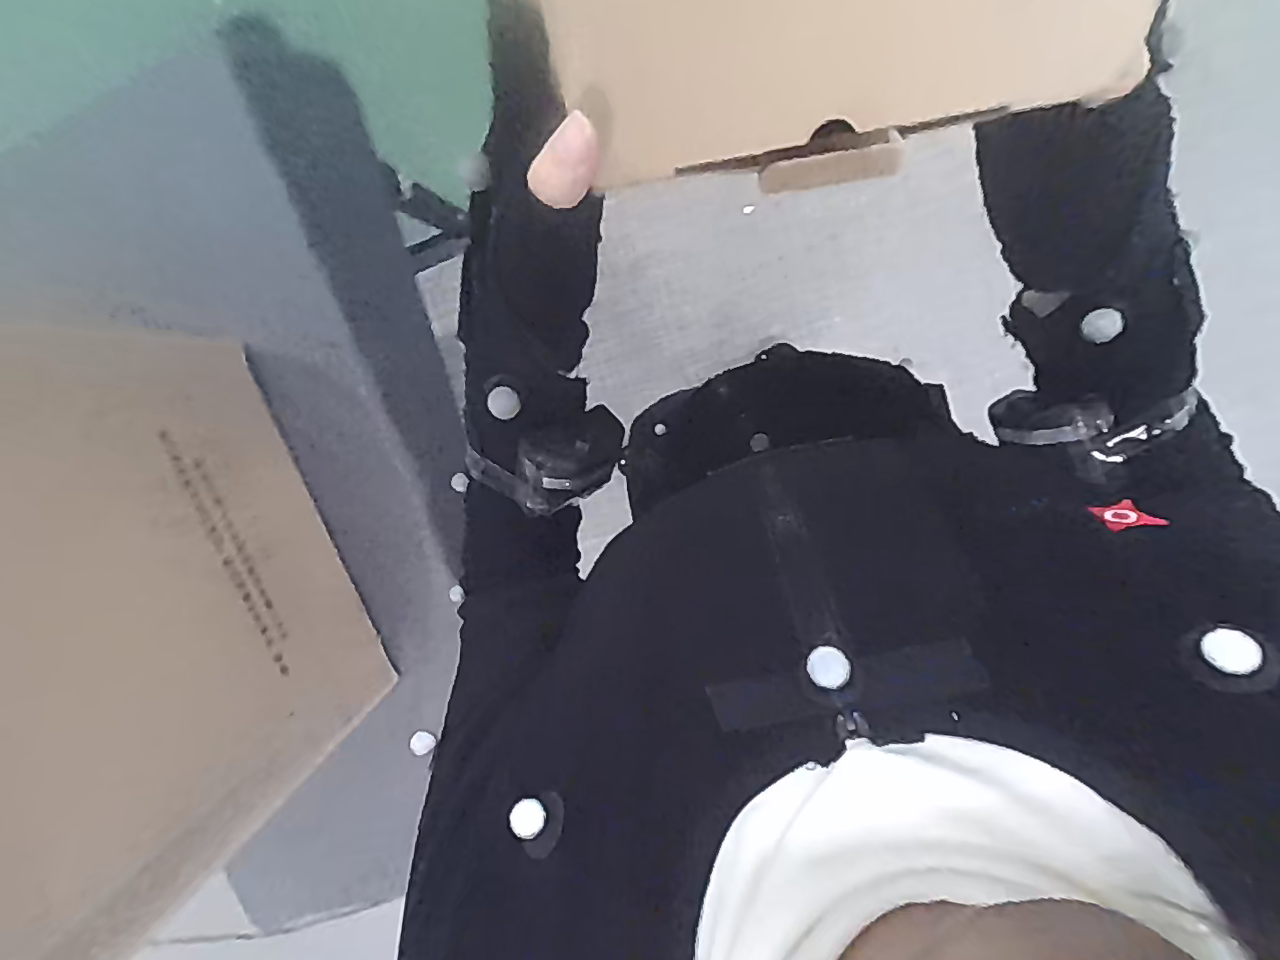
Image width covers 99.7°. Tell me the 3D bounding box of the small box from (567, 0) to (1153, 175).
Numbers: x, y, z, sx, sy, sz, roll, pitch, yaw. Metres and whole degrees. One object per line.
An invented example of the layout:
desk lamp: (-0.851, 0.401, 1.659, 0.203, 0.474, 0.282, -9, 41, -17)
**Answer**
small box: (0.058, -0.231, 0.174, 0.168, 0.176, 0.179, -5, 135, 10)
